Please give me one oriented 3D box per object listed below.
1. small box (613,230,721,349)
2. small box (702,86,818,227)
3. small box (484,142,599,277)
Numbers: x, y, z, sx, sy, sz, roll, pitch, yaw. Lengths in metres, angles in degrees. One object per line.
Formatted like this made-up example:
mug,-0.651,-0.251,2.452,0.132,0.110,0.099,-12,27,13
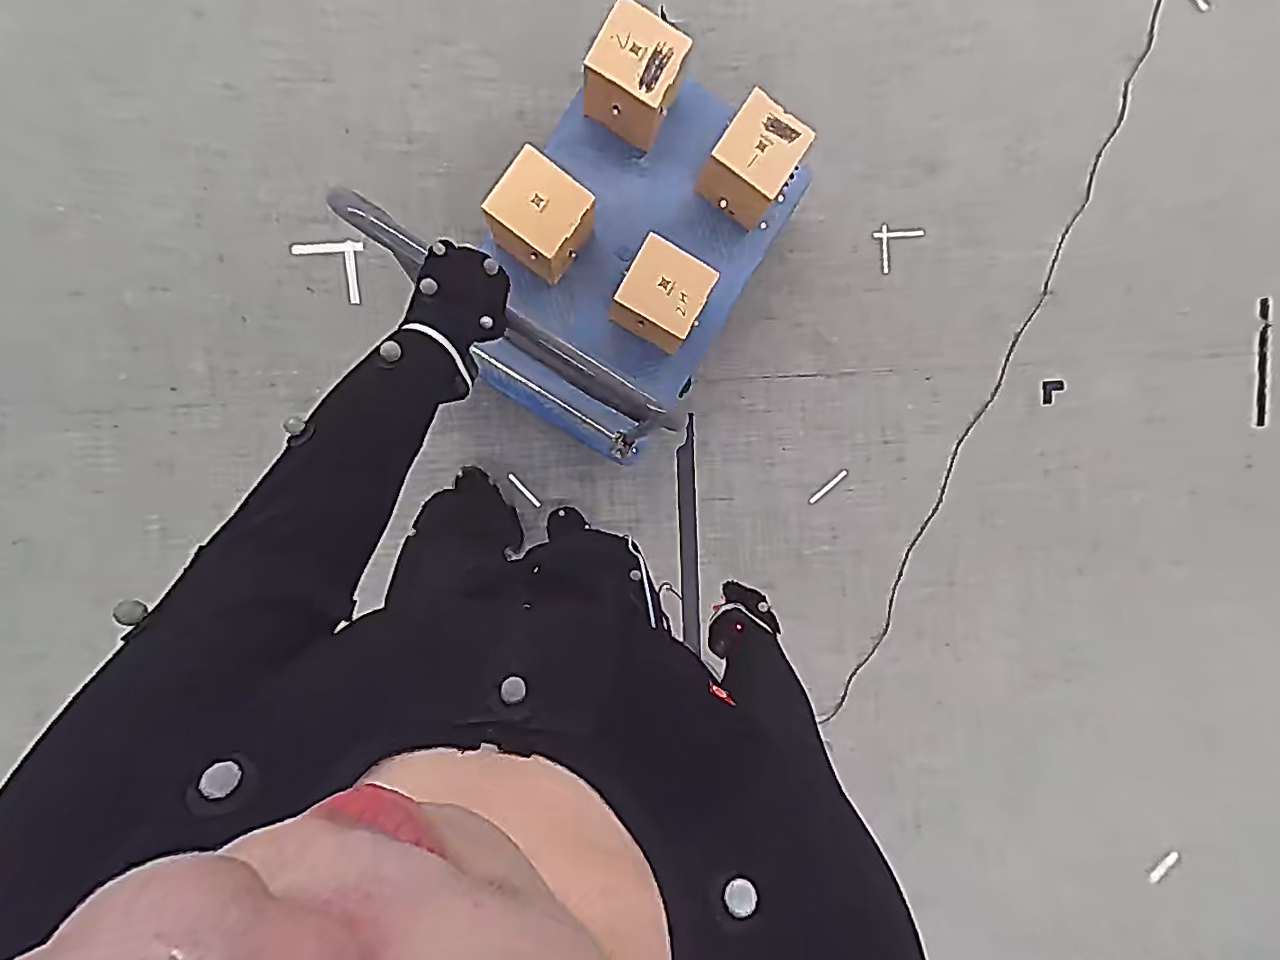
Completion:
small box,0.051,-0.416,1.218,0.179,0.176,0.168,29,90,-7
small box,0.260,-0.720,1.226,0.168,0.176,0.179,34,90,-7
small box,-0.211,-0.576,1.182,0.179,0.176,0.168,36,88,-8
